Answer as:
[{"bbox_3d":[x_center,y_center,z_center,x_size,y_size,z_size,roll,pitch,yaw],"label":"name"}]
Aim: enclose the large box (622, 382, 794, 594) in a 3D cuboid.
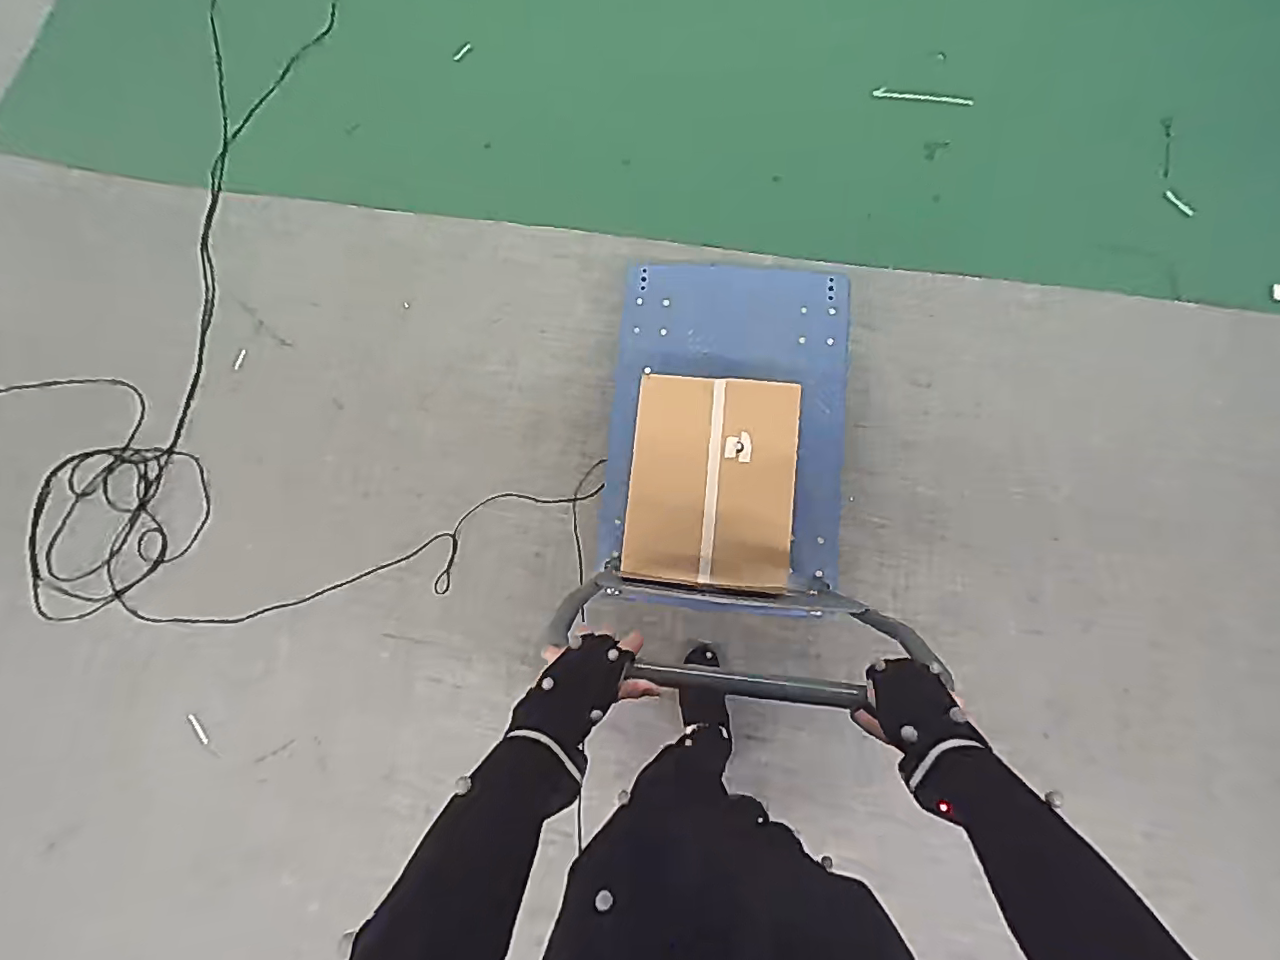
[{"bbox_3d":[0.147,0.034,1.191,0.320,0.320,0.408,5,81,5],"label":"large box"}]
